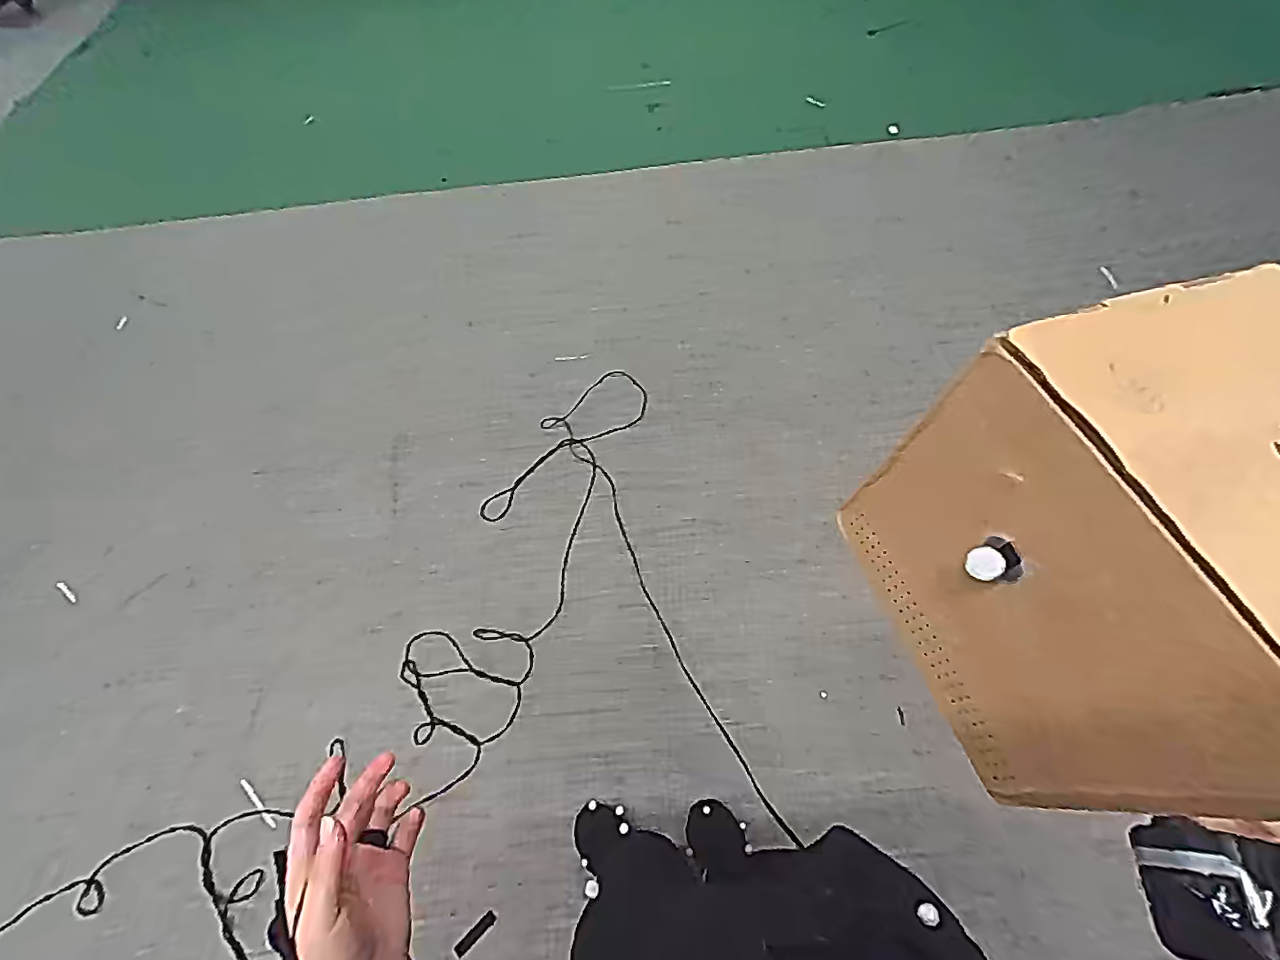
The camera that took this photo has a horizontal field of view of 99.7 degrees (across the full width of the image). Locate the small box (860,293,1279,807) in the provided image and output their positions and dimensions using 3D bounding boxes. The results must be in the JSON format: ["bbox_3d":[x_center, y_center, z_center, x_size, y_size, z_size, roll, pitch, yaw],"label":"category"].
[{"bbox_3d":[0.245,0.042,0.268,0.168,0.176,0.179,-15,63,-13],"label":"small box"}]
